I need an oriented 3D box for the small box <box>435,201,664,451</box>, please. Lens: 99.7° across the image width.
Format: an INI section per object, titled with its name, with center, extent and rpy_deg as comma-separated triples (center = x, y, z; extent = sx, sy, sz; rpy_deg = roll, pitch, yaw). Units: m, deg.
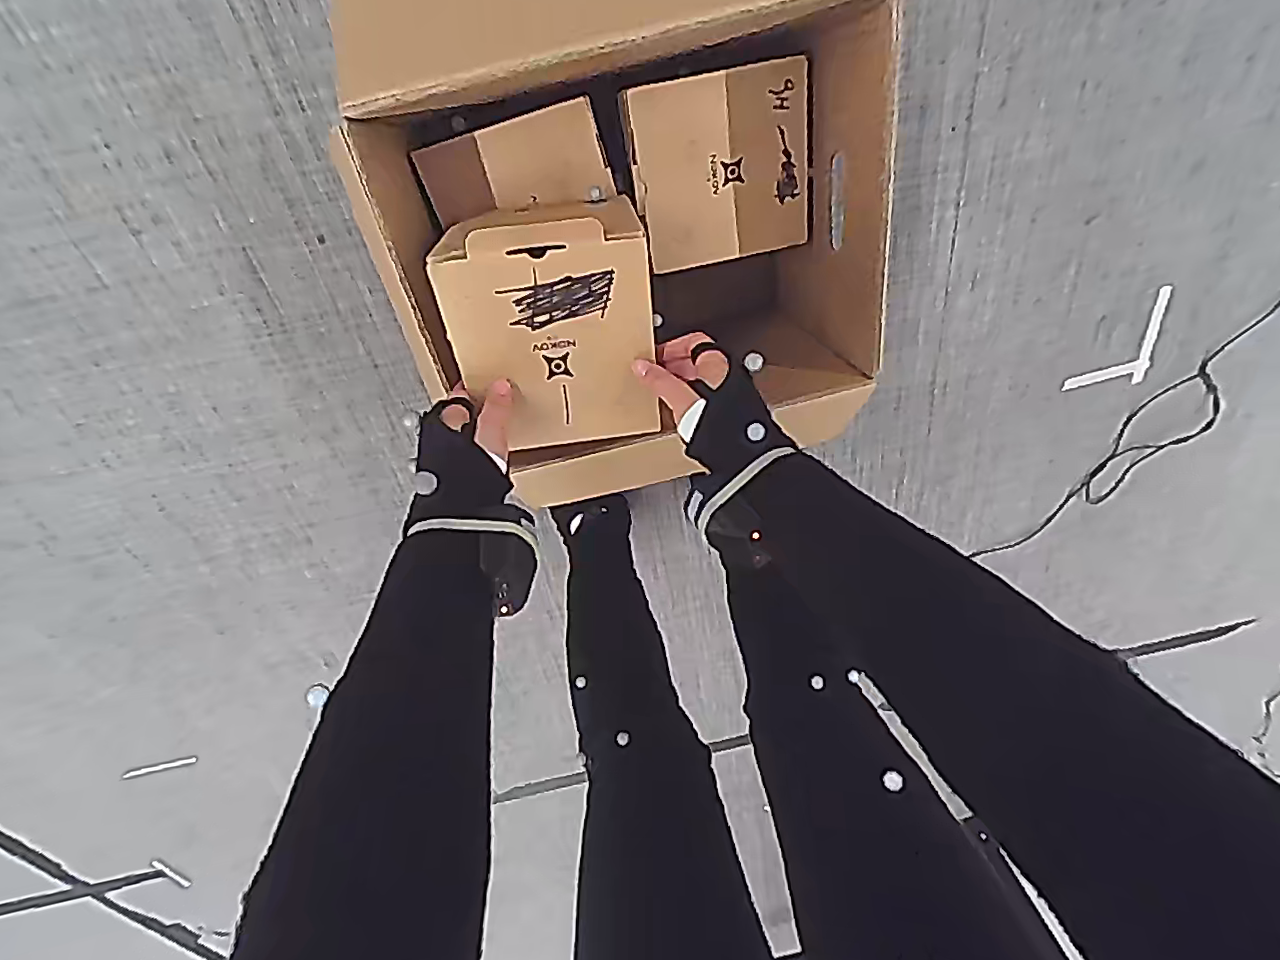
[small box]
center = -0.073, -0.152, 0.507
extent = 0.168, 0.176, 0.179
rpy_deg = -7, 127, -2
